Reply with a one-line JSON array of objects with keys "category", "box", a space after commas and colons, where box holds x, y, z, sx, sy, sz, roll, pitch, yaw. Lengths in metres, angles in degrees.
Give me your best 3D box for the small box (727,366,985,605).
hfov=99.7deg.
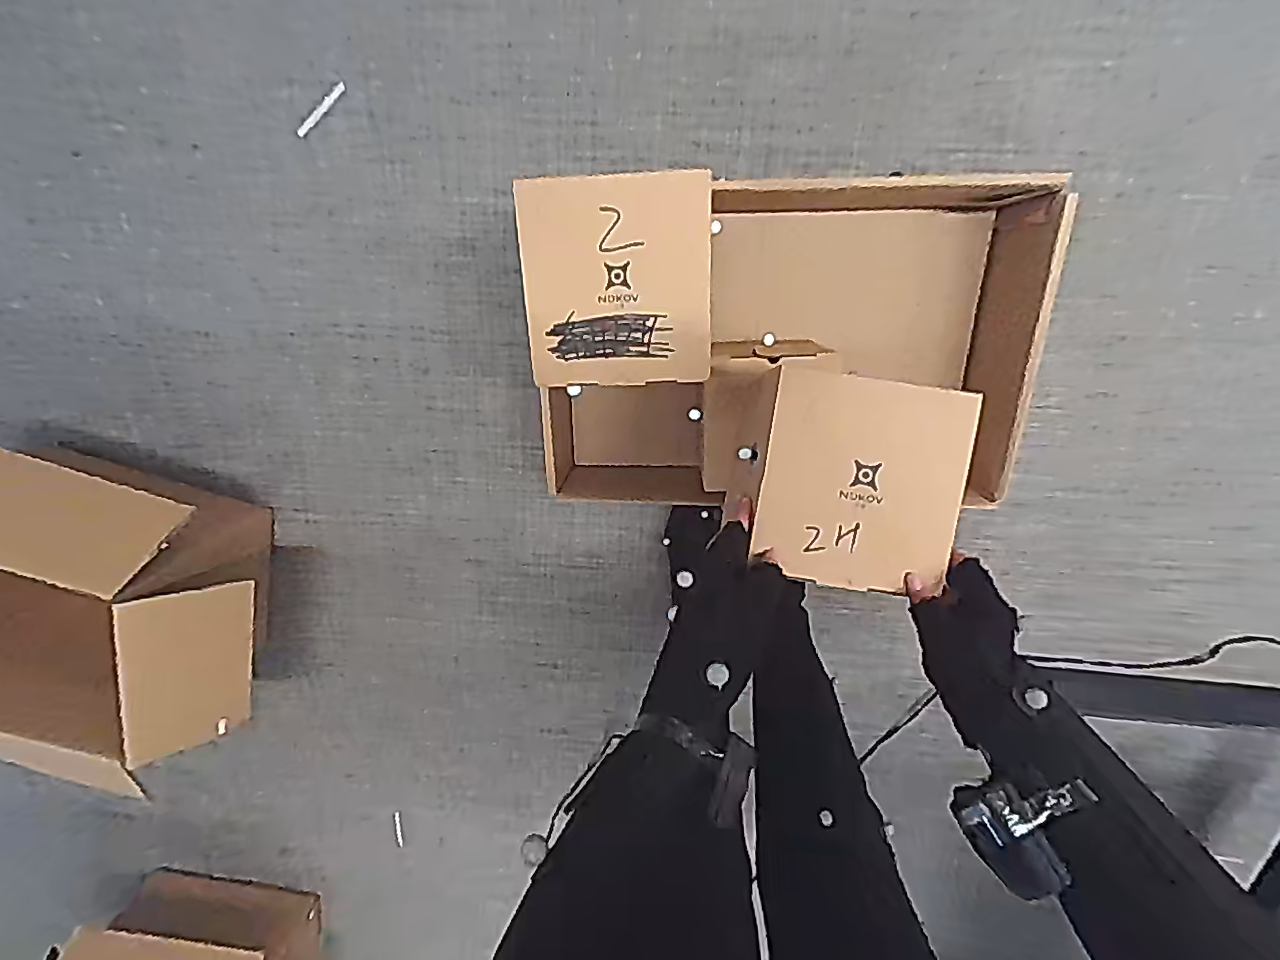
[{"category": "small box", "box": [0.185, -0.001, 0.519, 0.168, 0.176, 0.179, 9, 96, 1]}]
